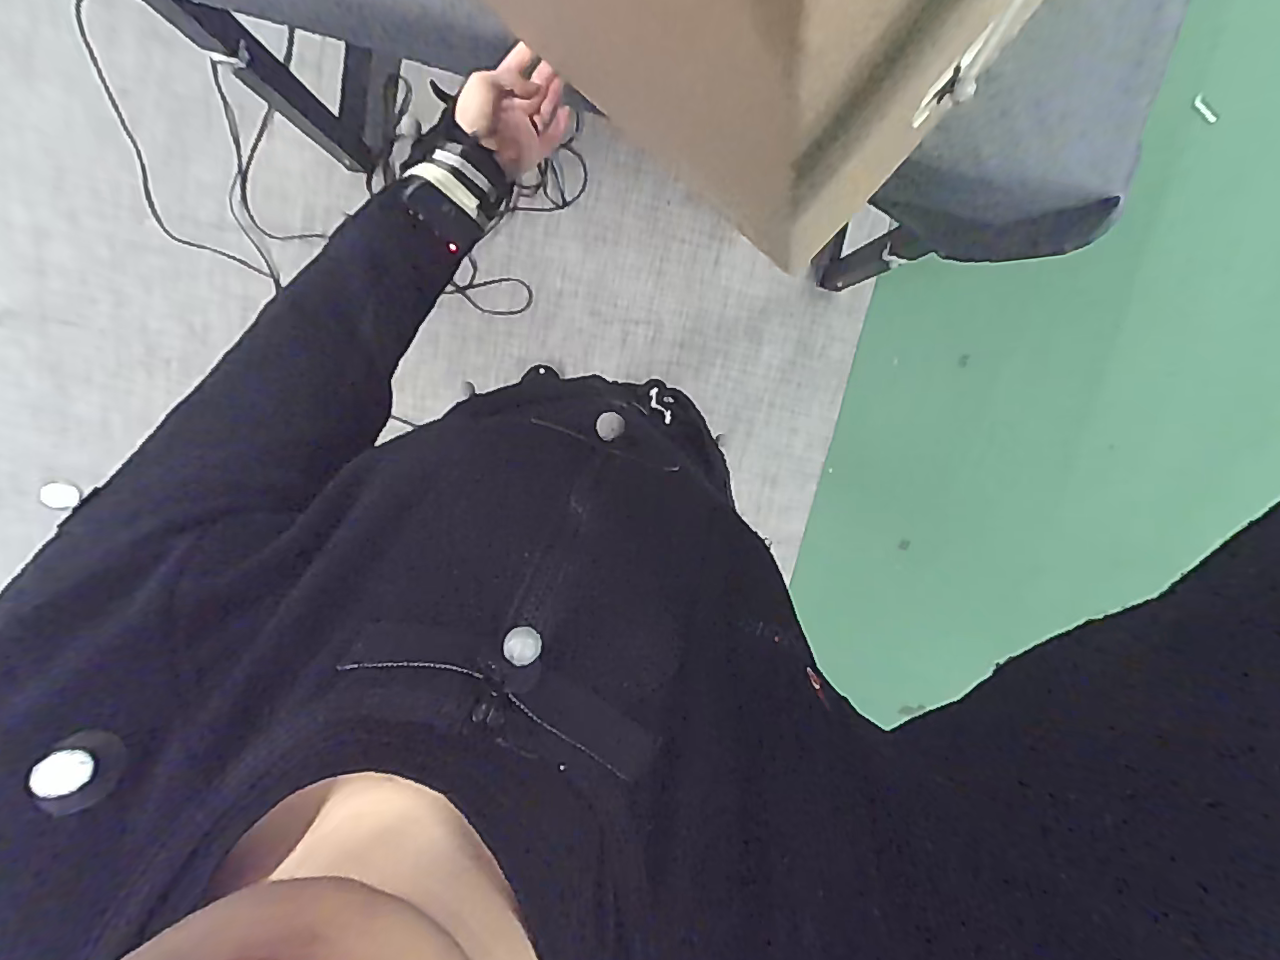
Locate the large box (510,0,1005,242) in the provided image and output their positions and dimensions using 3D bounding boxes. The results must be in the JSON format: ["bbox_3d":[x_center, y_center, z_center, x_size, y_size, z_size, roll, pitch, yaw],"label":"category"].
[{"bbox_3d":[0.061,-0.358,0.230,0.320,0.408,0.320,41,110,1],"label":"large box"}]
